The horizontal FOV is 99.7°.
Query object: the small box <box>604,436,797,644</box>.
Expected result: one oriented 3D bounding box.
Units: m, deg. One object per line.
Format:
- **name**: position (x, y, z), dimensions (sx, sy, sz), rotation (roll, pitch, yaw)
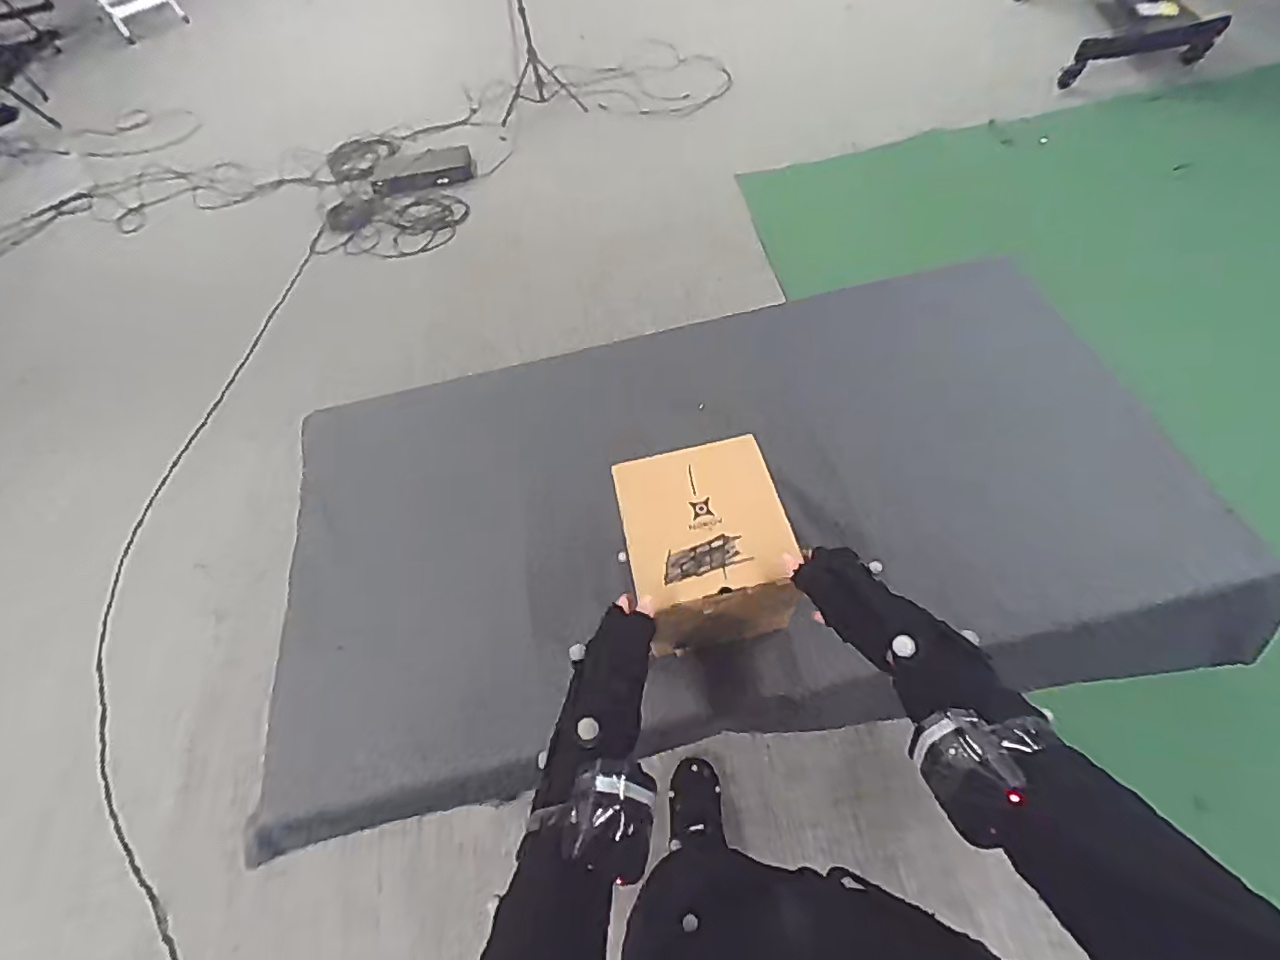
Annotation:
- **small box**: position (0.067, 0.081, 0.636), dimensions (0.168, 0.176, 0.179), rotation (-16, 59, -2)
